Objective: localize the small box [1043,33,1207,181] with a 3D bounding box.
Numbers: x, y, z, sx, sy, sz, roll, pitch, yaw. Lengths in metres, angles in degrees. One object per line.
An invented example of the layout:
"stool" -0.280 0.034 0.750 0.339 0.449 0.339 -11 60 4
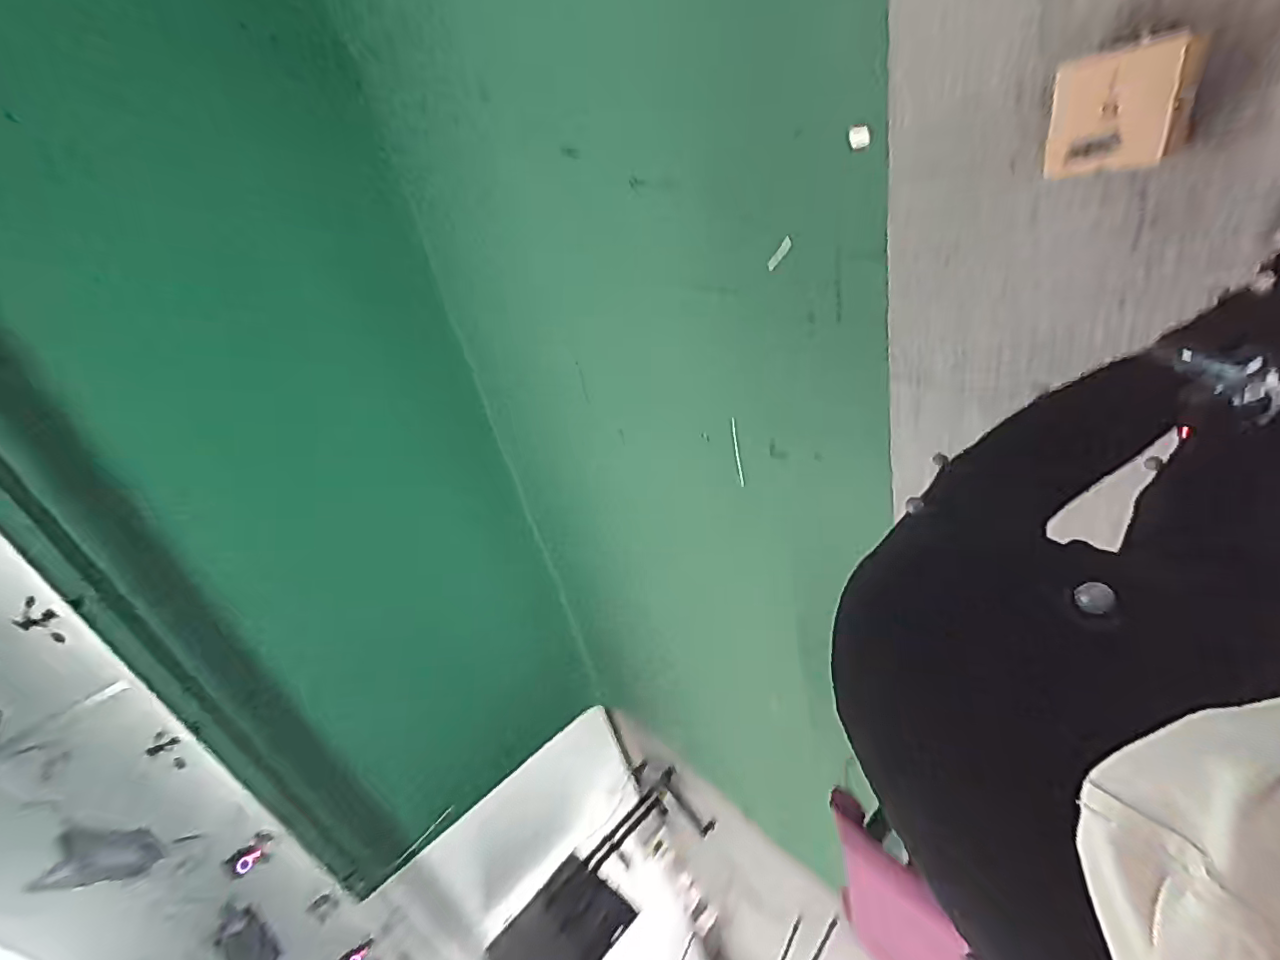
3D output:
"small box" 0.836 -0.641 0.937 0.168 0.176 0.179 21 133 46
